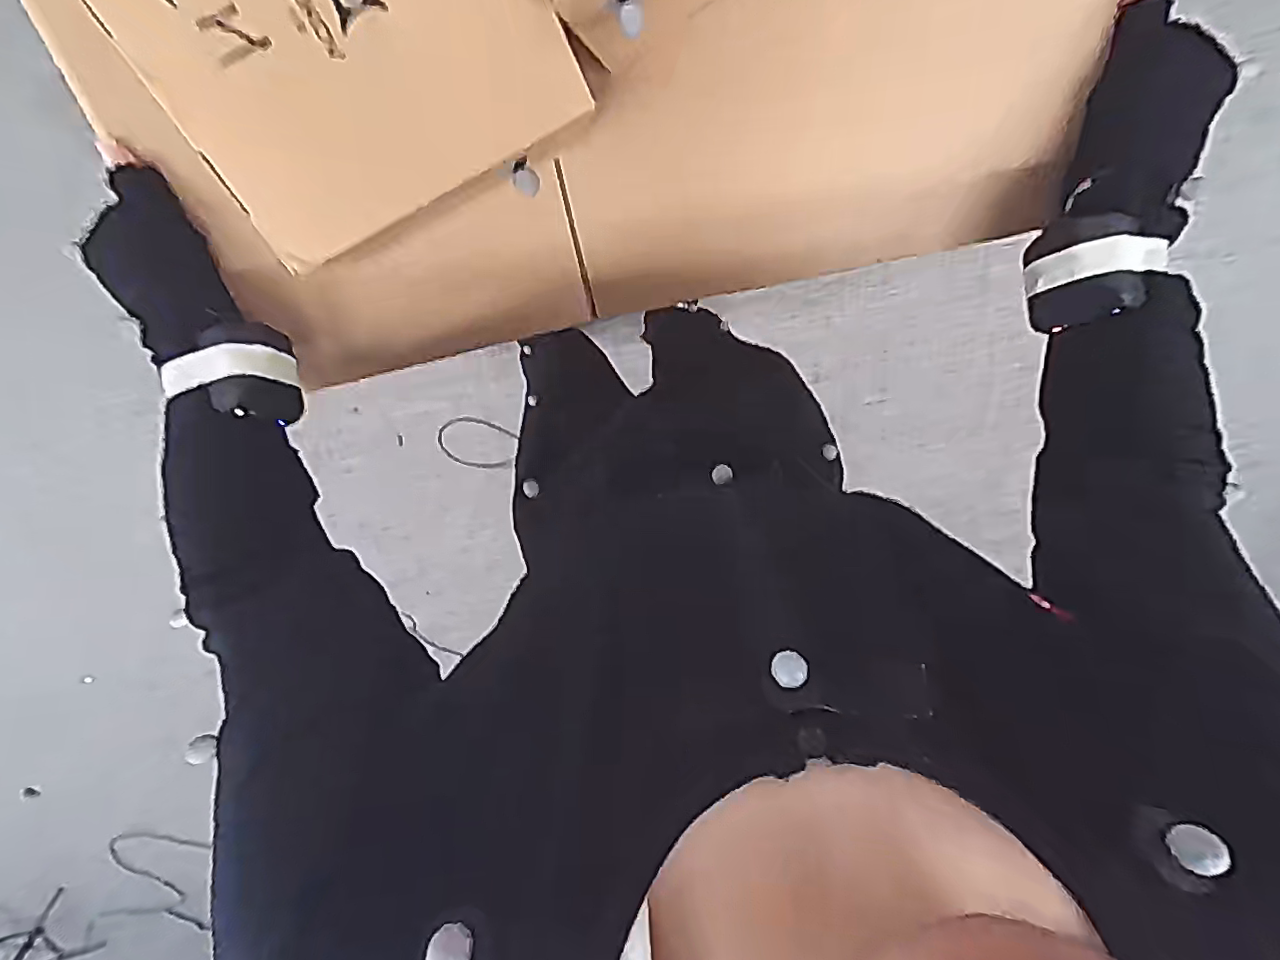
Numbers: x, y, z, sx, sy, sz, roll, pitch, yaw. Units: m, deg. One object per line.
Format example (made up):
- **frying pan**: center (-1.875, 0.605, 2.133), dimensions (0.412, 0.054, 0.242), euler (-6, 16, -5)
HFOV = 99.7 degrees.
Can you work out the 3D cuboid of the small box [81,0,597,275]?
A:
- **small box**: center (-0.147, -0.236, 0.297), dimensions (0.179, 0.176, 0.168), euler (-29, 118, 0)
